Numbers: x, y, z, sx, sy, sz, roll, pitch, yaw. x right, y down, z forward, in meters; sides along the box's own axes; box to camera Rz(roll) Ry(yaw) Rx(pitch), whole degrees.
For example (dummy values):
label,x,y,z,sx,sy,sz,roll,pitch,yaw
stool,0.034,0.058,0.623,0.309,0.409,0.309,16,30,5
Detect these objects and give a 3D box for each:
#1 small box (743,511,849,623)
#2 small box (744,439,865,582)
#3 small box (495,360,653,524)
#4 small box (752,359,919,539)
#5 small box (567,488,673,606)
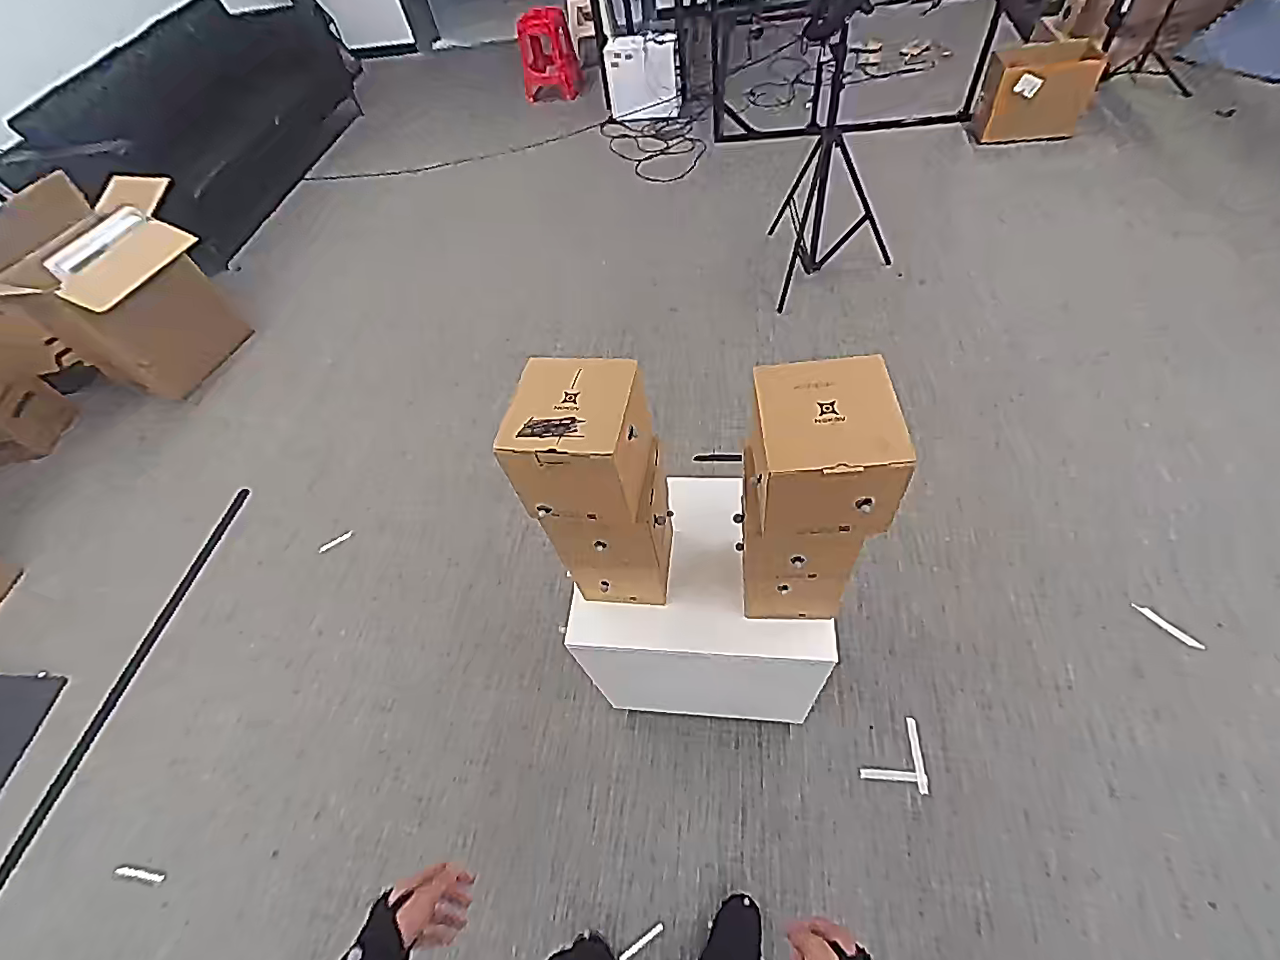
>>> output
label,x,y,z,sx,sy,sz,roll,pitch,yaw
small box,0.274,0.145,0.988,0.168,0.176,0.179,-2,55,10
small box,0.250,0.051,0.855,0.168,0.176,0.179,-1,55,10
small box,-0.081,-0.052,0.783,0.168,0.176,0.179,4,55,12
small box,0.240,-0.032,0.714,0.168,0.176,0.179,-4,54,6
small box,-0.028,0.132,1.051,0.168,0.176,0.179,2,55,10
